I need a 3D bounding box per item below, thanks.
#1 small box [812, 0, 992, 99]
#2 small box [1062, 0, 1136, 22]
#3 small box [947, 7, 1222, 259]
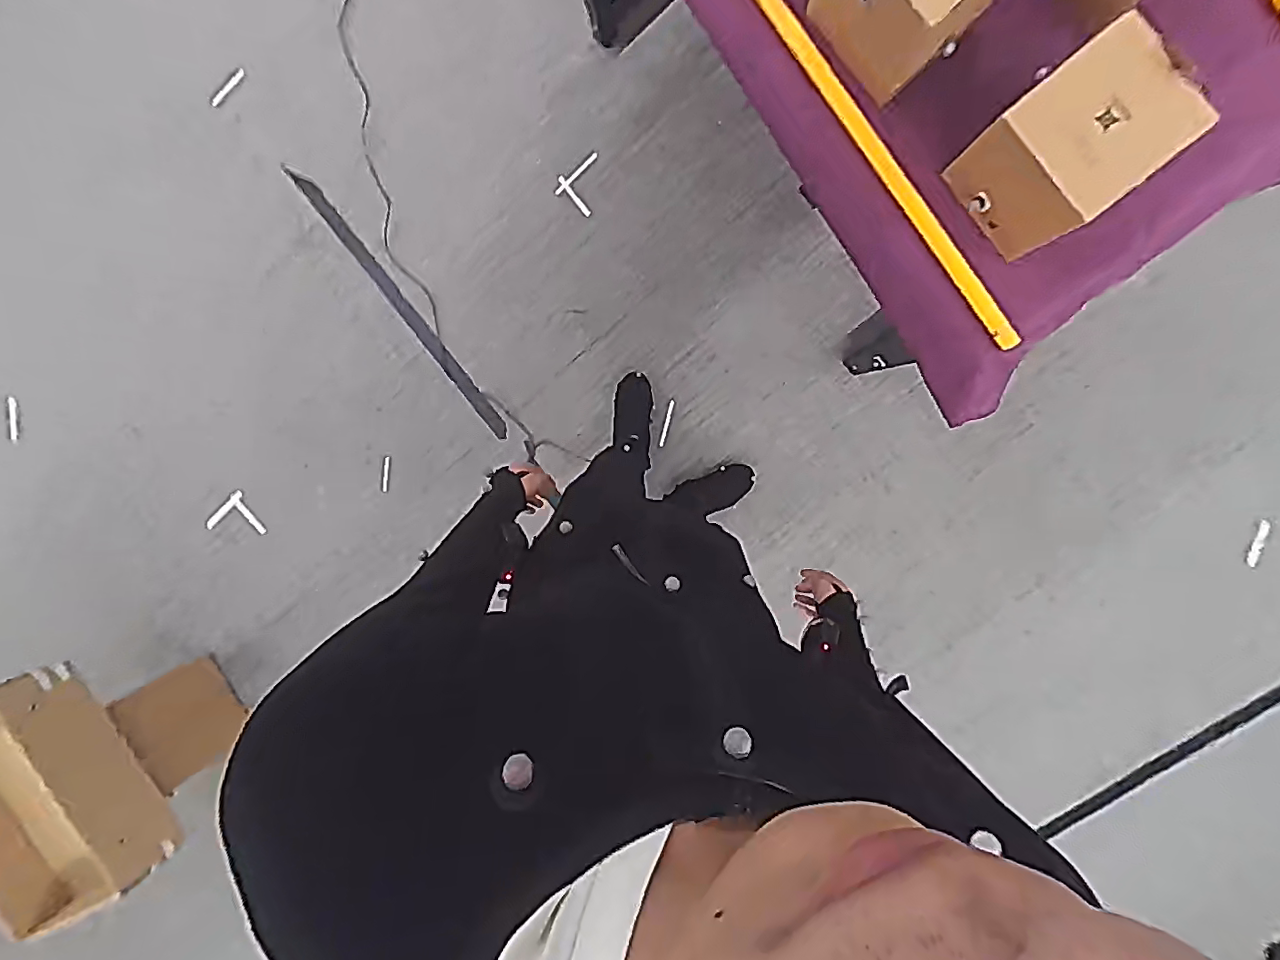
[{"bbox_3d":[0.346,-0.644,0.684,0.168,0.176,0.179,-40,93,8],"label":"small box"},{"bbox_3d":[0.617,-0.711,0.648,0.168,0.176,0.179,-41,91,11],"label":"small box"},{"bbox_3d":[0.545,-0.422,0.694,0.179,0.176,0.168,-39,91,7],"label":"small box"}]
